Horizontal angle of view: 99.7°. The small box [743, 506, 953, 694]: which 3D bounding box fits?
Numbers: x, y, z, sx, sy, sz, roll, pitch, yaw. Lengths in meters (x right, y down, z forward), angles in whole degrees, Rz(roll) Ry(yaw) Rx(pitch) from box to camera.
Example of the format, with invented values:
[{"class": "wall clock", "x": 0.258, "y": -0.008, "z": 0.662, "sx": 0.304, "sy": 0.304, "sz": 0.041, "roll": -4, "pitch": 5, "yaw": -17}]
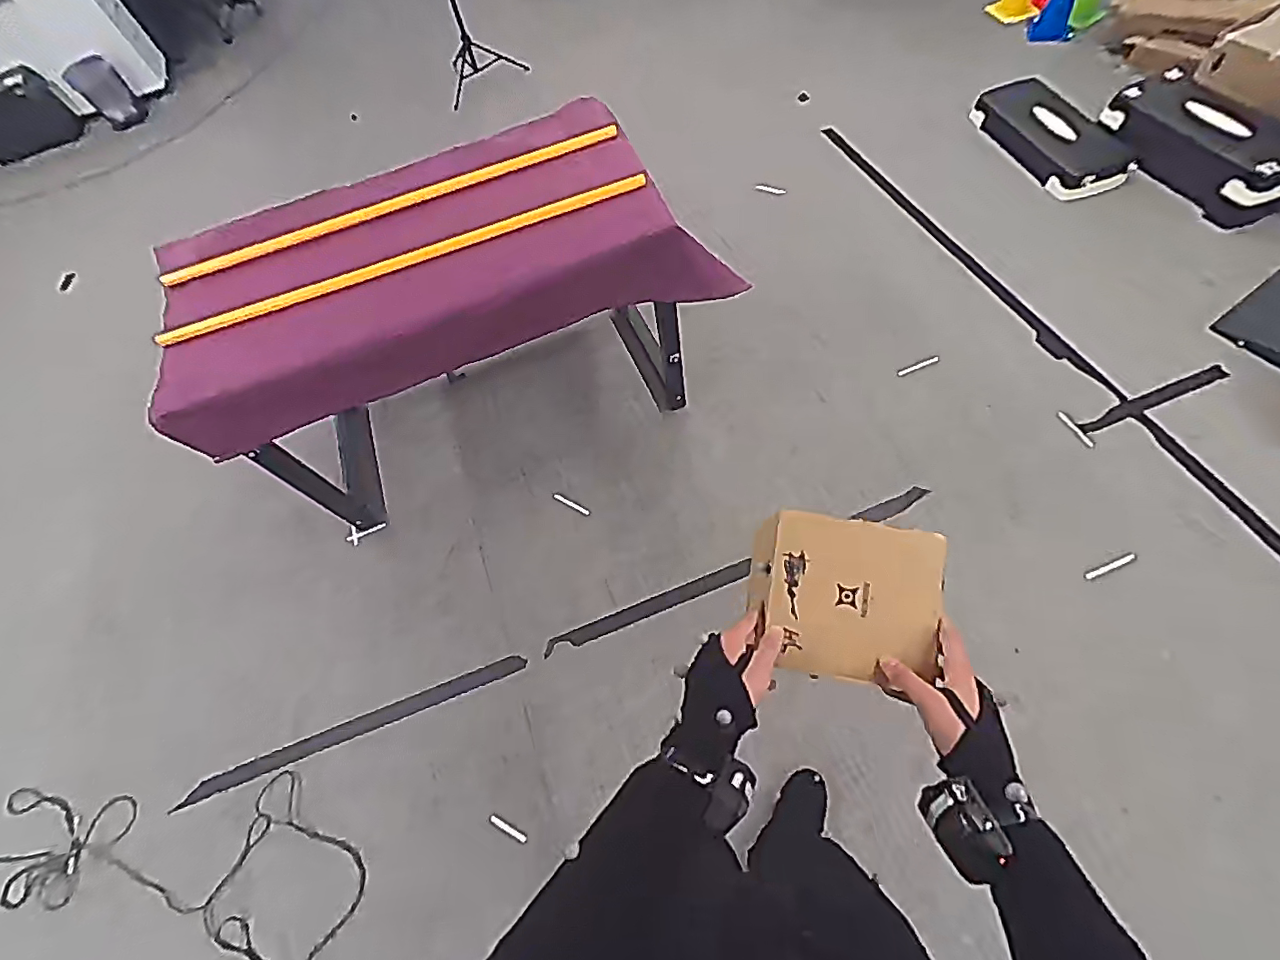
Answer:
[{"class": "small box", "x": 0.228, "y": 0.133, "z": 0.631, "sx": 0.179, "sy": 0.176, "sz": 0.168, "roll": 9, "pitch": 80, "yaw": 5}]
